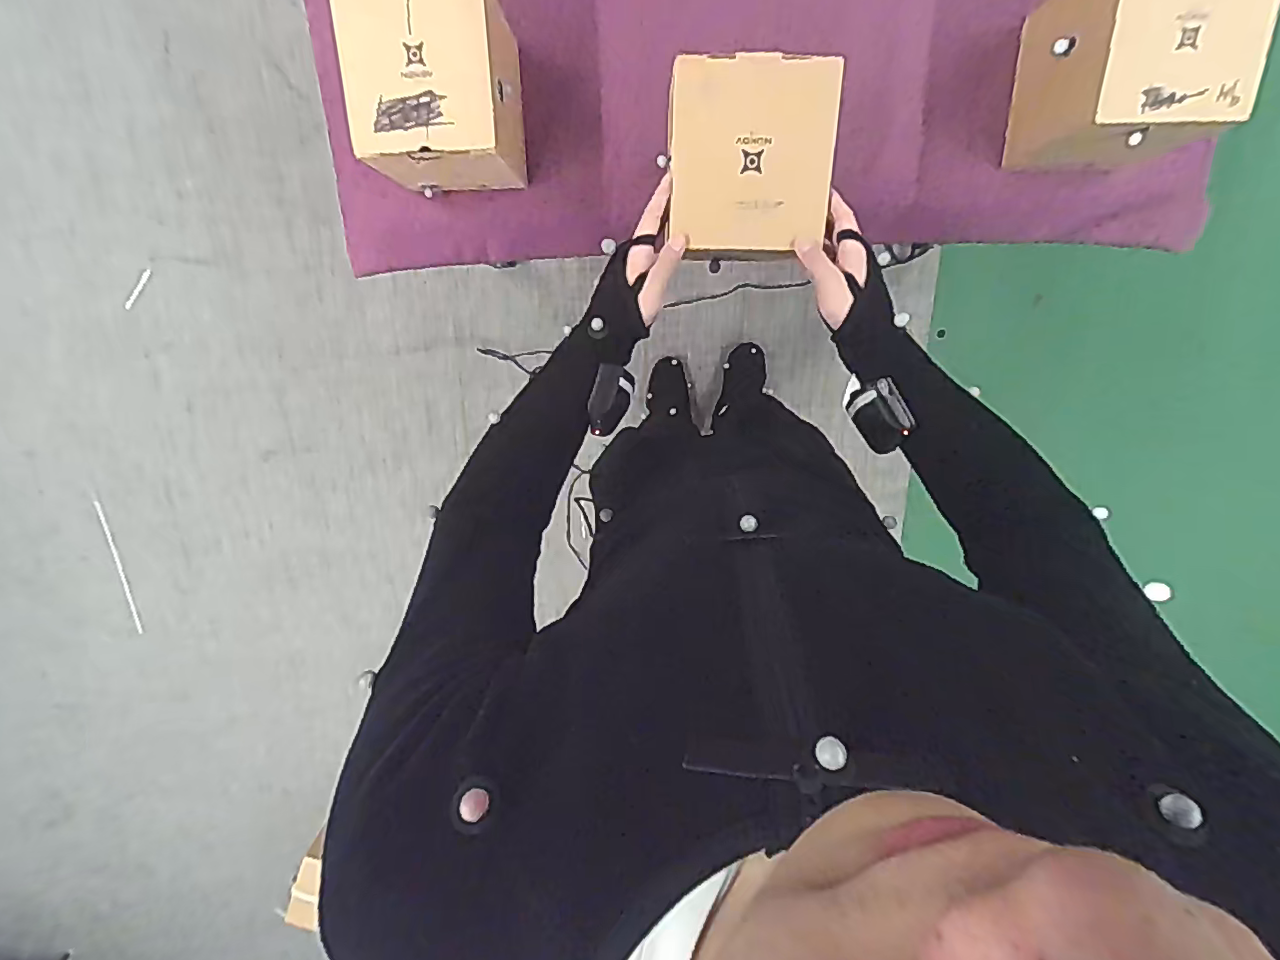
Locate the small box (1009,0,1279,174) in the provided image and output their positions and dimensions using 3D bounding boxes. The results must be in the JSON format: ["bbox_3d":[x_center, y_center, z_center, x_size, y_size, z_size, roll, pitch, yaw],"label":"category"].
[{"bbox_3d":[0.578,-0.487,0.641,0.168,0.176,0.179,1,103,2],"label":"small box"}]

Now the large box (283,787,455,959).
[{"bbox_3d":[-0.921,1.352,1.877,0.408,0.320,0.320,22,105,-6],"label":"large box"}]

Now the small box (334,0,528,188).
[{"bbox_3d":[-0.238,-0.469,0.662,0.168,0.176,0.179,-1,105,1],"label":"small box"}]
